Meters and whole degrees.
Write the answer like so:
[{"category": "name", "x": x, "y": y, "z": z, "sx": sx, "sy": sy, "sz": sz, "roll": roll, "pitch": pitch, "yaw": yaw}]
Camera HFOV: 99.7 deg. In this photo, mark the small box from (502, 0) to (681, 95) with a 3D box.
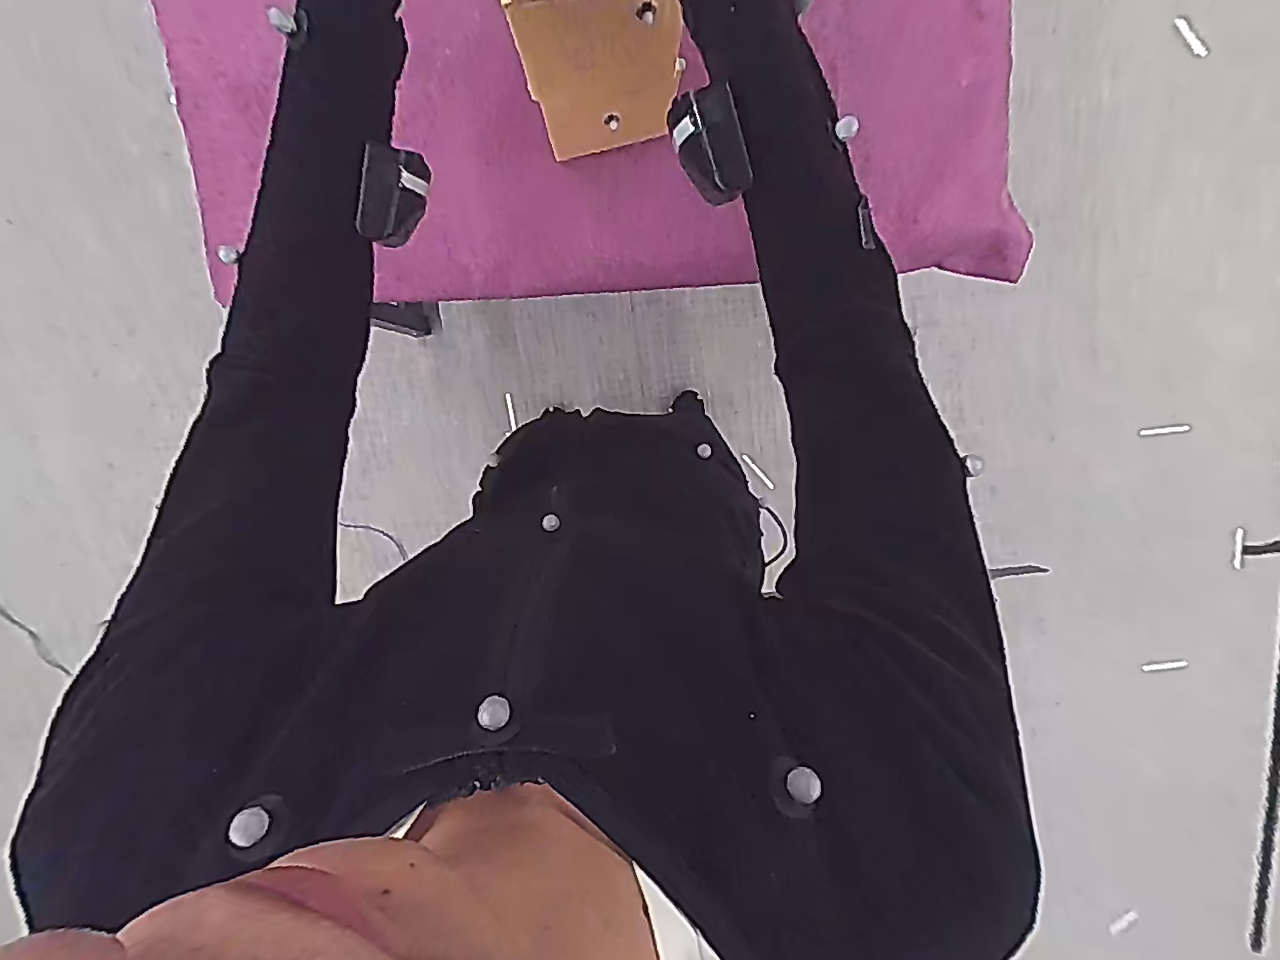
[{"category": "small box", "x": -0.054, "y": -0.534, "z": 0.558, "sx": 0.179, "sy": 0.176, "sz": 0.168, "roll": -9, "pitch": 100, "yaw": -1}]
